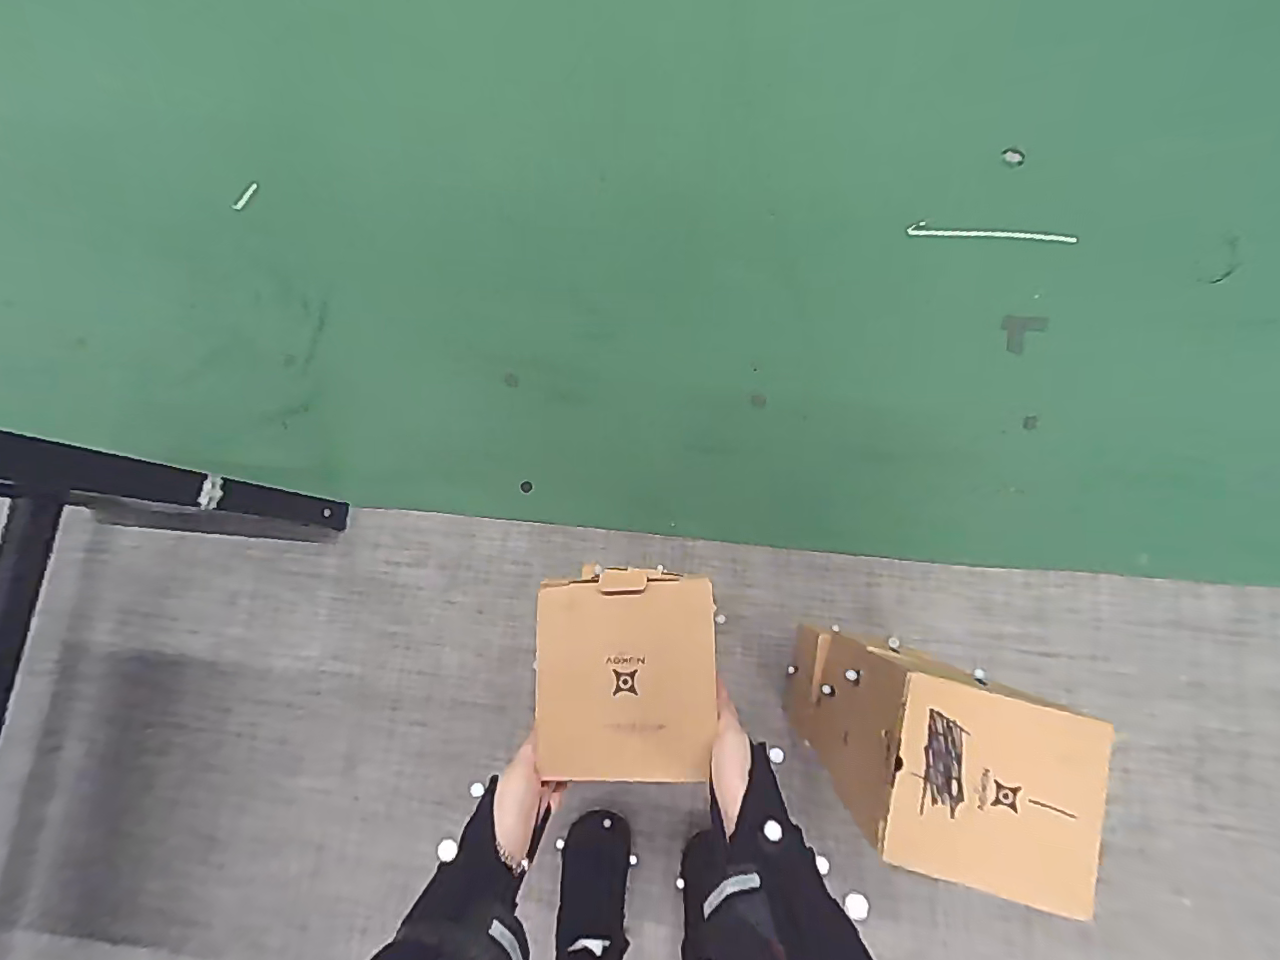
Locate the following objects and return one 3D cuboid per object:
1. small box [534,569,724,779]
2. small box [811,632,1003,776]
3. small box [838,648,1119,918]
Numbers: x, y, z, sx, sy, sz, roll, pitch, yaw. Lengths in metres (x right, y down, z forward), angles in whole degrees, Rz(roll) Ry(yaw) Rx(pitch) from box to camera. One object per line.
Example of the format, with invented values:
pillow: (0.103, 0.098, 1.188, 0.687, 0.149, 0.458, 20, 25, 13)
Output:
small box: (-0.006, 0.184, 0.554, 0.168, 0.176, 0.179, -3, 80, 5)
small box: (0.337, 0.304, 0.701, 0.179, 0.176, 0.168, 16, 83, 8)
small box: (0.316, 0.275, 0.541, 0.179, 0.176, 0.168, 13, 82, 7)
